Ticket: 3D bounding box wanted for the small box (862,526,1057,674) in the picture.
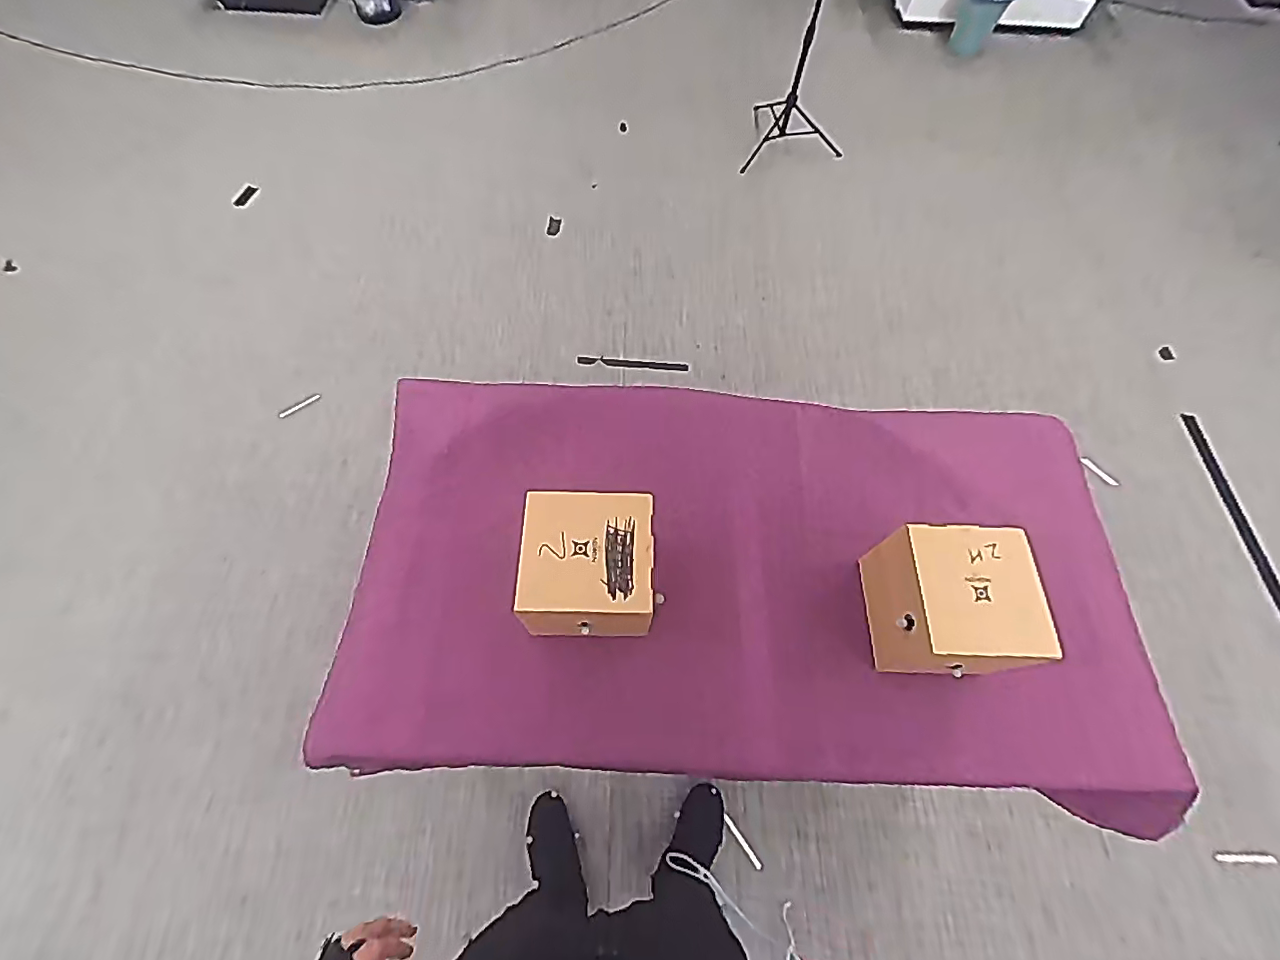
[{"bbox_3d":[0.442,0.180,0.782,0.168,0.176,0.179,3,64,-1],"label":"small box"}]
